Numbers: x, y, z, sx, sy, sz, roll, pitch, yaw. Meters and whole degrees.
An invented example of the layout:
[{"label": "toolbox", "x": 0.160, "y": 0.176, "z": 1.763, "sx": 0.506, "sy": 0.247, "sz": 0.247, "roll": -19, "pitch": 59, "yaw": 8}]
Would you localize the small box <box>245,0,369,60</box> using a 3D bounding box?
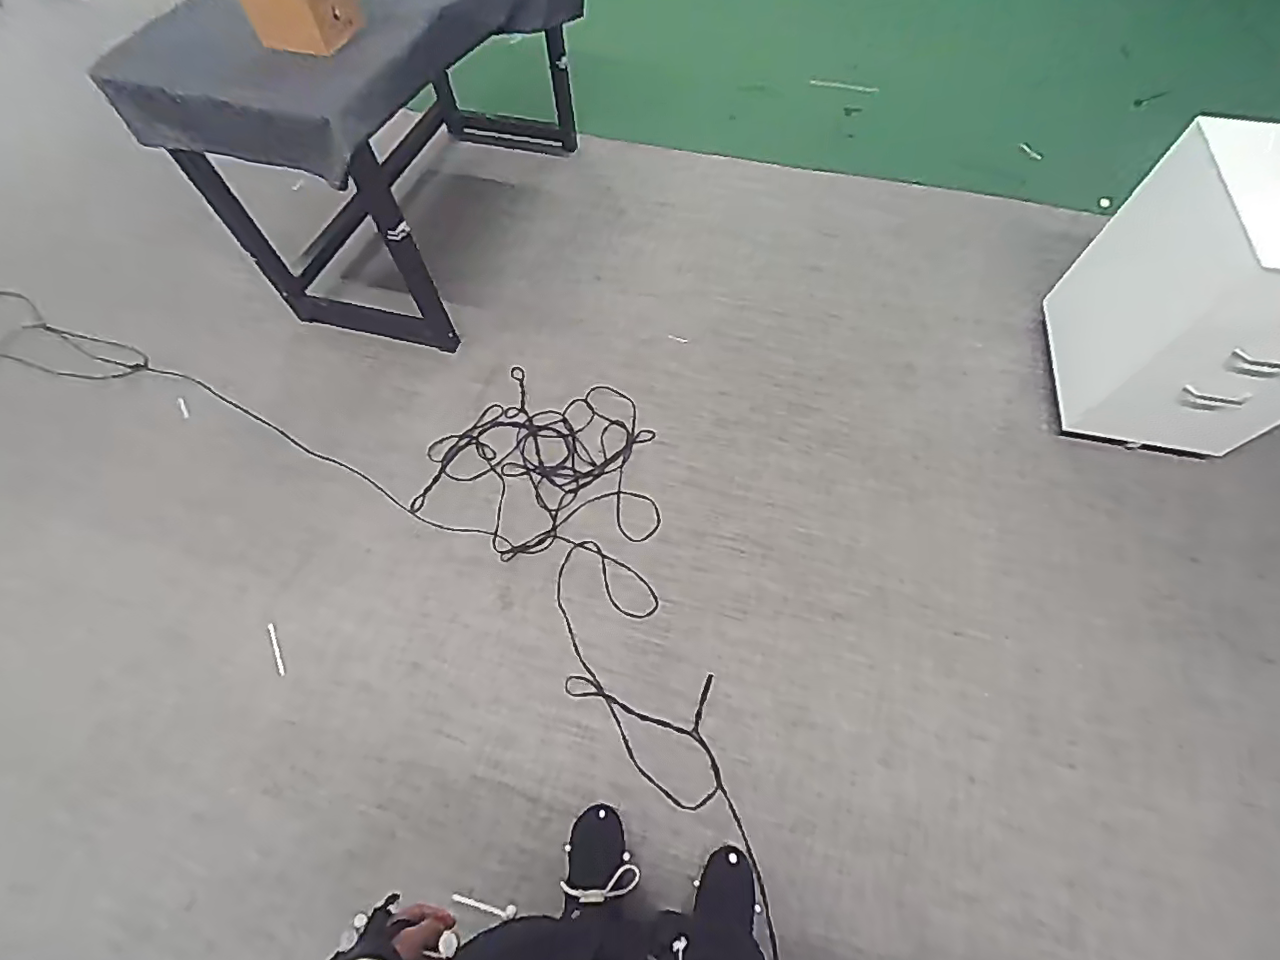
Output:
[{"label": "small box", "x": -0.735, "y": -1.047, "z": 1.170, "sx": 0.179, "sy": 0.176, "sz": 0.168, "roll": 13, "pitch": 62, "yaw": 8}]
